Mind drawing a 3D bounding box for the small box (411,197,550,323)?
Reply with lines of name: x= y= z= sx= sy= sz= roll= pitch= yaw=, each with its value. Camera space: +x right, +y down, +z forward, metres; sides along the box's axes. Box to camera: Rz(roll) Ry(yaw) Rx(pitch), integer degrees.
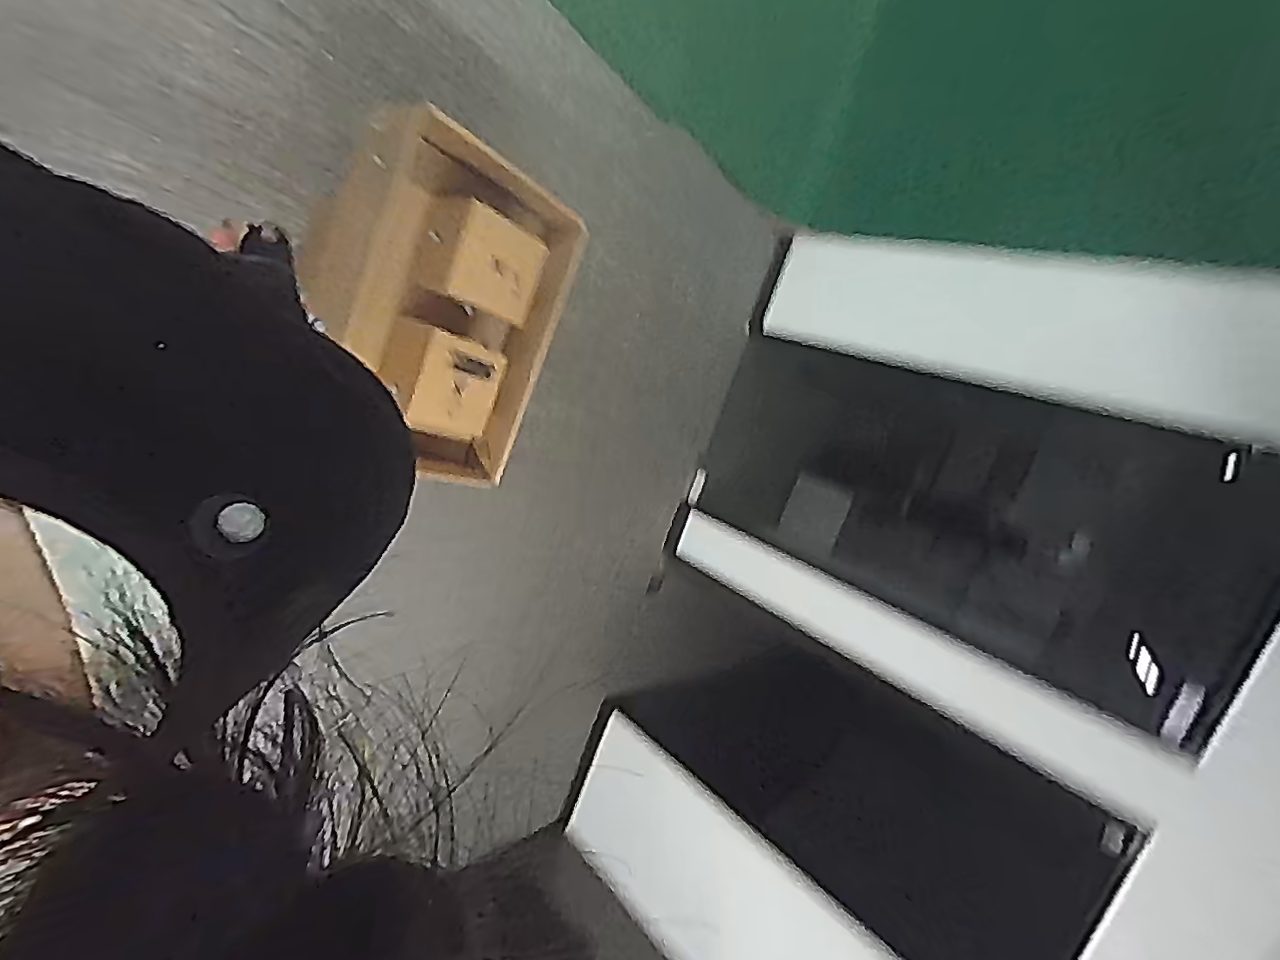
small box: x=-0.315 y=-0.429 z=1.059 sx=0.179 sy=0.176 sz=0.168 roll=15 pitch=100 yaw=-52
